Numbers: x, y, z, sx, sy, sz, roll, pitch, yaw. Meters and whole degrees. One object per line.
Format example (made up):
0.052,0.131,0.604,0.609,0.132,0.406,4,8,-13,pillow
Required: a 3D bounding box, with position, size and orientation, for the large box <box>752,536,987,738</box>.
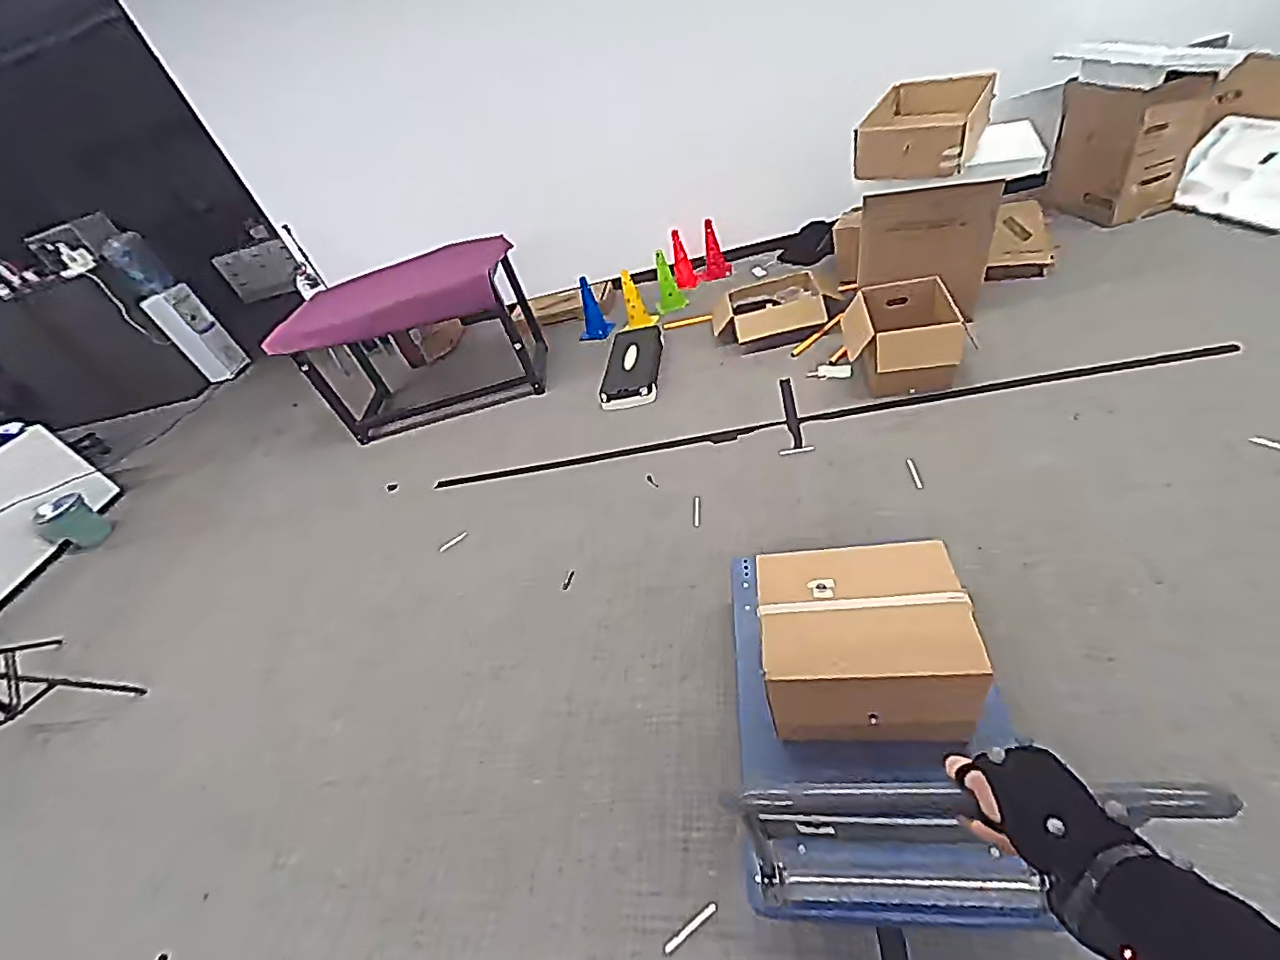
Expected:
0.484,0.359,1.210,0.408,0.320,0.320,-8,41,15,large box
